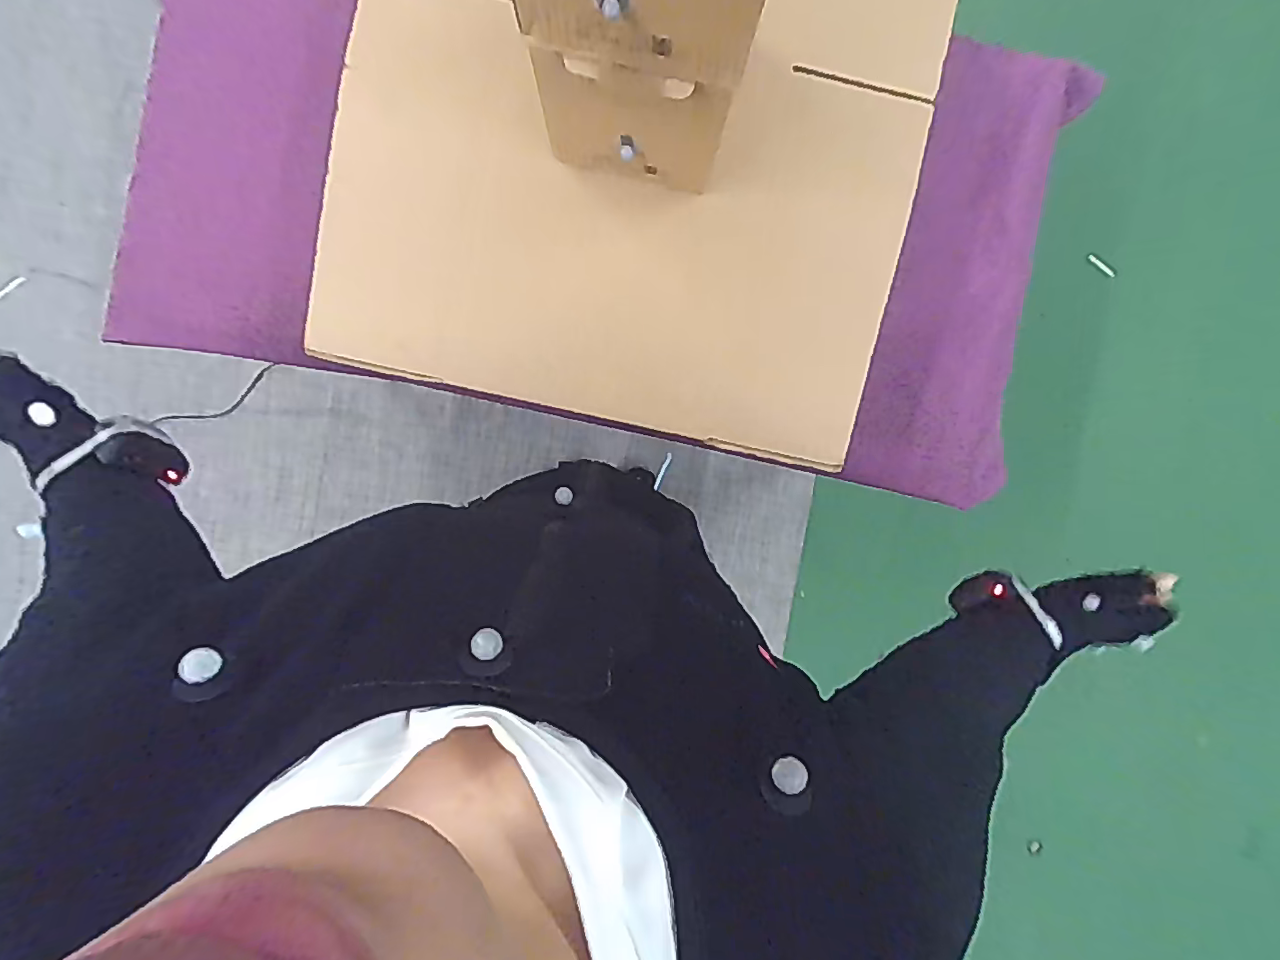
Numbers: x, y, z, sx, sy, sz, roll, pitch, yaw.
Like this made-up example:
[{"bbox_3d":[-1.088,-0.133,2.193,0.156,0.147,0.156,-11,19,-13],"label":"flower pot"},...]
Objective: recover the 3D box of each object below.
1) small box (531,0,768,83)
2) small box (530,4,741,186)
[{"bbox_3d":[0.016,-0.393,0.320,0.168,0.176,0.179,11,92,-2],"label":"small box"},{"bbox_3d":[0.013,-0.405,0.482,0.168,0.176,0.179,13,92,-2],"label":"small box"}]
